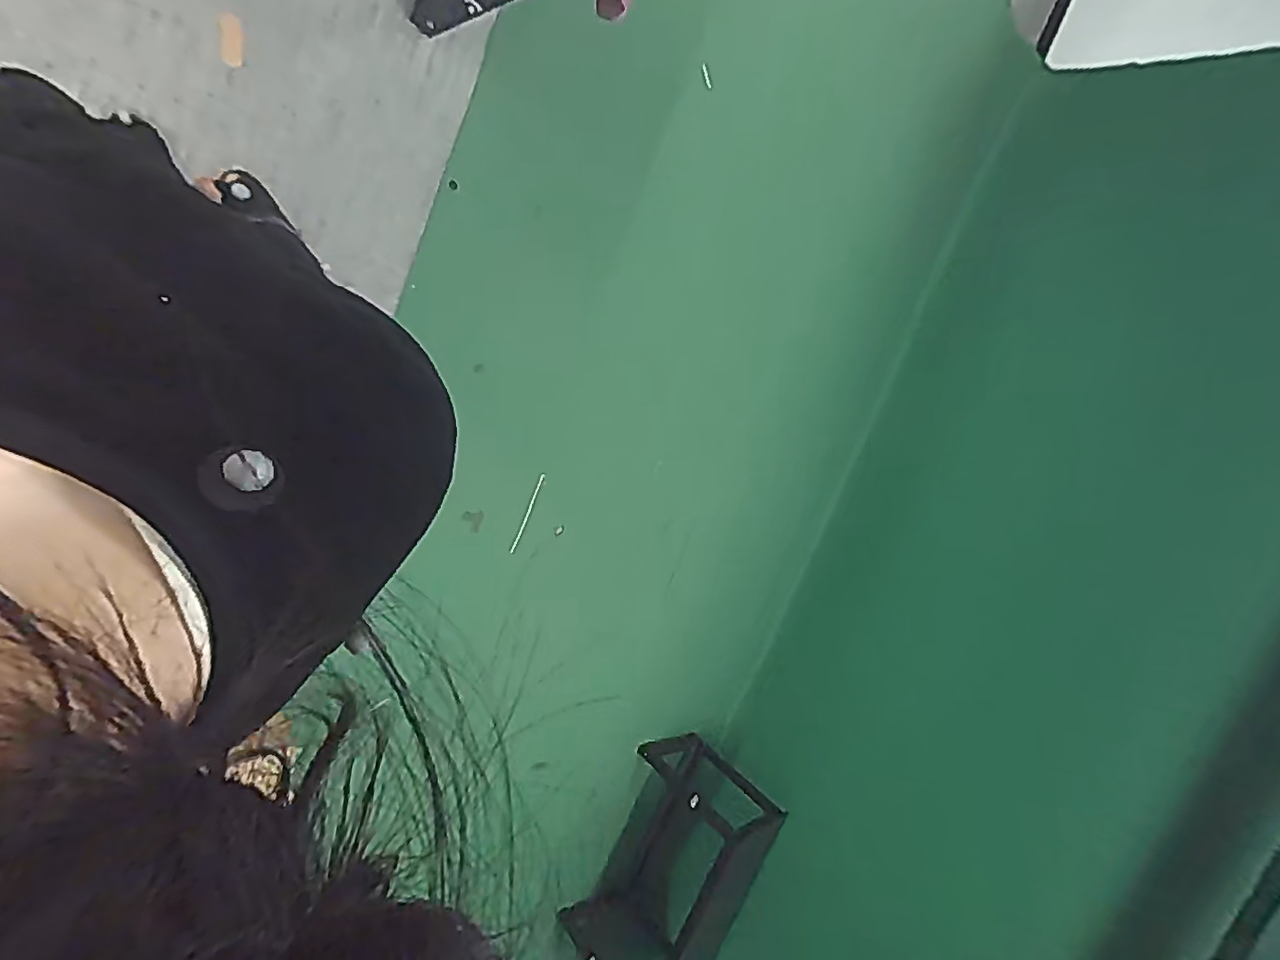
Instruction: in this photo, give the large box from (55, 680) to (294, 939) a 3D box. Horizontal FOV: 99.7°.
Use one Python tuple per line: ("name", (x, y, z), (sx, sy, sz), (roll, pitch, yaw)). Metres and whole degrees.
("large box", (-1.125, 0.762, 1.327), (0.408, 0.320, 0.320), (-5, 115, -46))
